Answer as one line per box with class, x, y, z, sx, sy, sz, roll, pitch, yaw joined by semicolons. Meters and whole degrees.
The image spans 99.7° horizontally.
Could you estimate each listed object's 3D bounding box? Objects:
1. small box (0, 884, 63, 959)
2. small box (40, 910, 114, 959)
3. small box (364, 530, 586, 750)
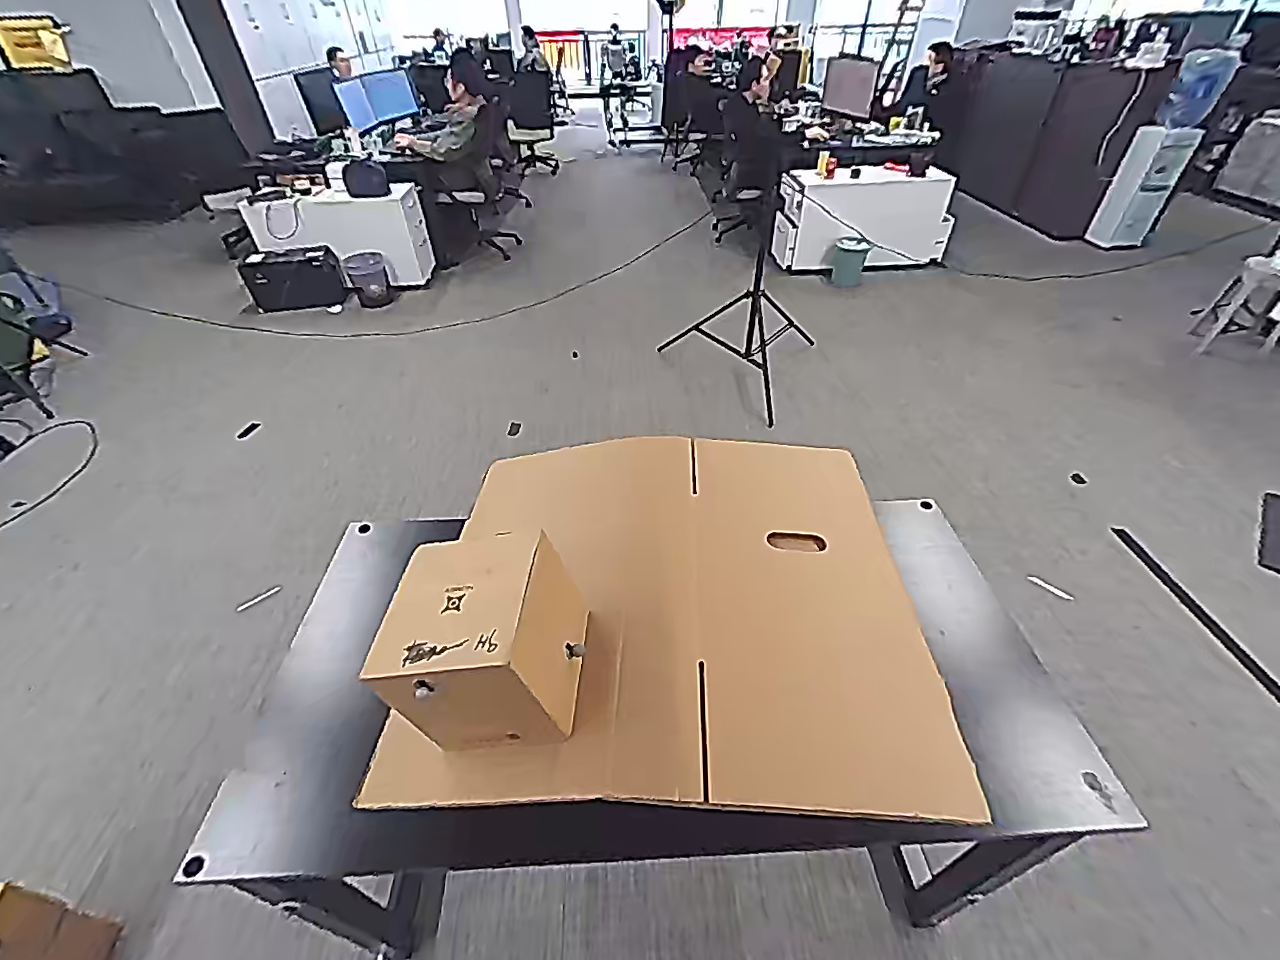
small box;-1.225;0.867;0.974;0.168;0.176;0.179;-6;41;-7
small box;-1.221;0.993;1.077;0.168;0.176;0.179;-5;42;-4
small box;-0.170;0.186;0.628;0.168;0.176;0.179;-10;39;12
